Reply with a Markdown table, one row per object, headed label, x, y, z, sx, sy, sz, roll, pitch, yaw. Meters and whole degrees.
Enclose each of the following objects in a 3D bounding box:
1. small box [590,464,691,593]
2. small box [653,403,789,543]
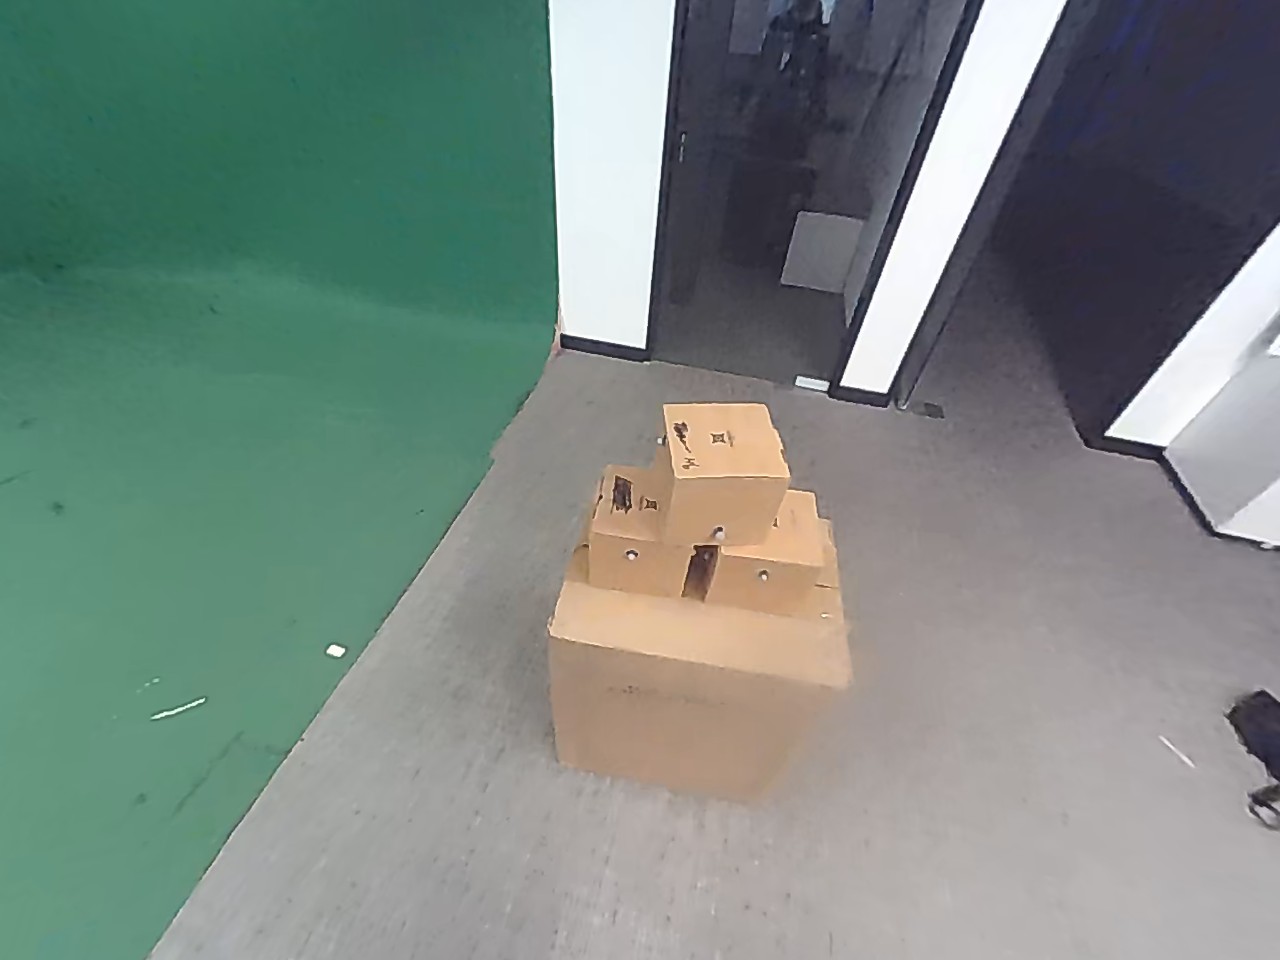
| label | x | y | z | sx | sy | sz | roll | pitch | yaw |
| --- | --- | --- | --- | --- | --- | --- | --- | --- | --- |
| small box | 0.007 | 0.094 | 1.015 | 0.179 | 0.176 | 0.168 | 9 | 47 | 2 |
| small box | 0.122 | -0.008 | 0.897 | 0.179 | 0.176 | 0.168 | 0 | 47 | -7 |
